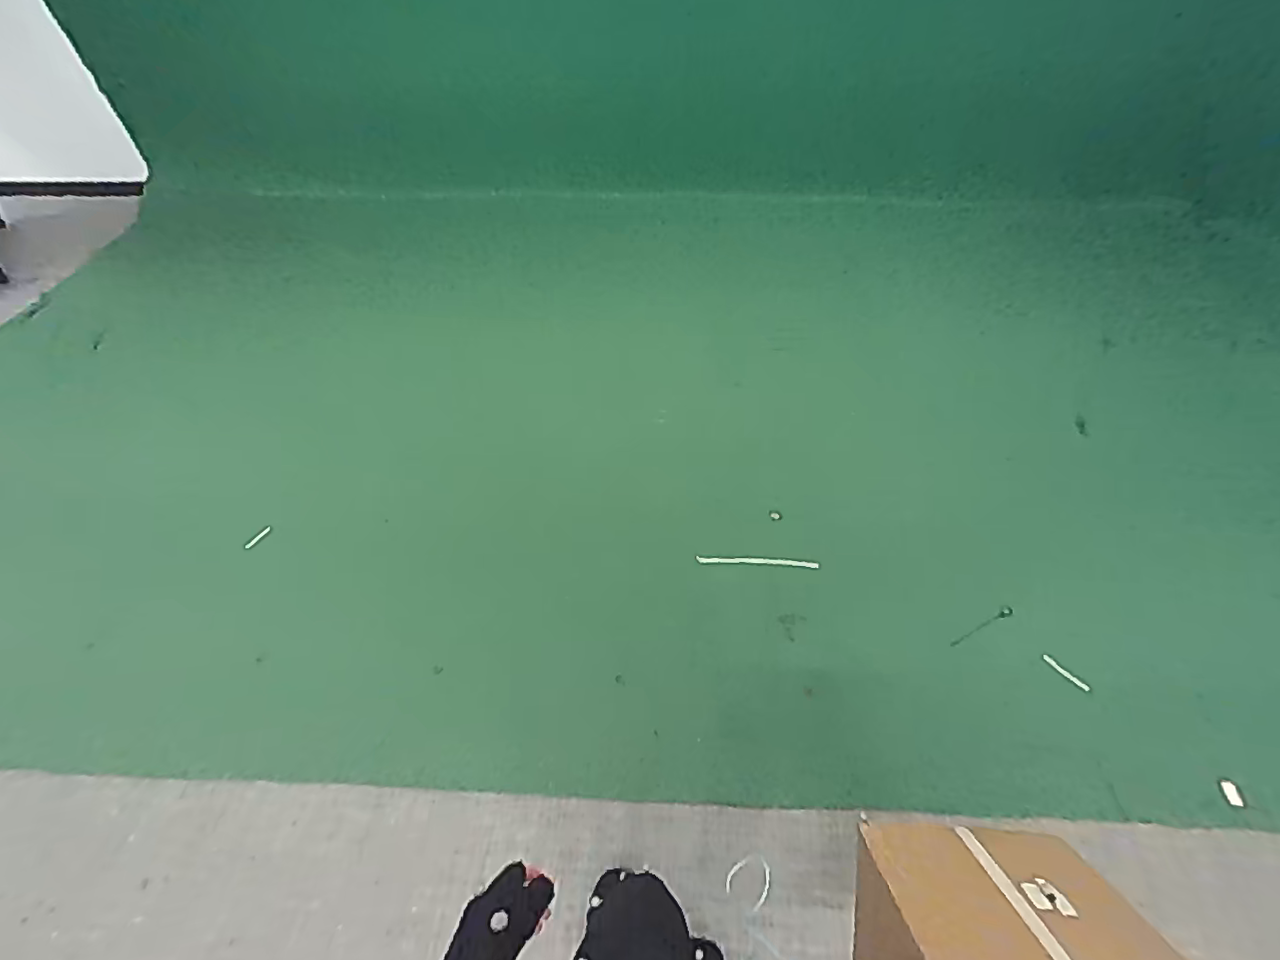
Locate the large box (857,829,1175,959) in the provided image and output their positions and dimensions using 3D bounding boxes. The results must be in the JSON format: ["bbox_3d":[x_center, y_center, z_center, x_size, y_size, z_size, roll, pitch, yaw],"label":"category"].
[{"bbox_3d":[0.490,0.723,0.668,0.320,0.408,0.320,2,93,4],"label":"large box"}]
